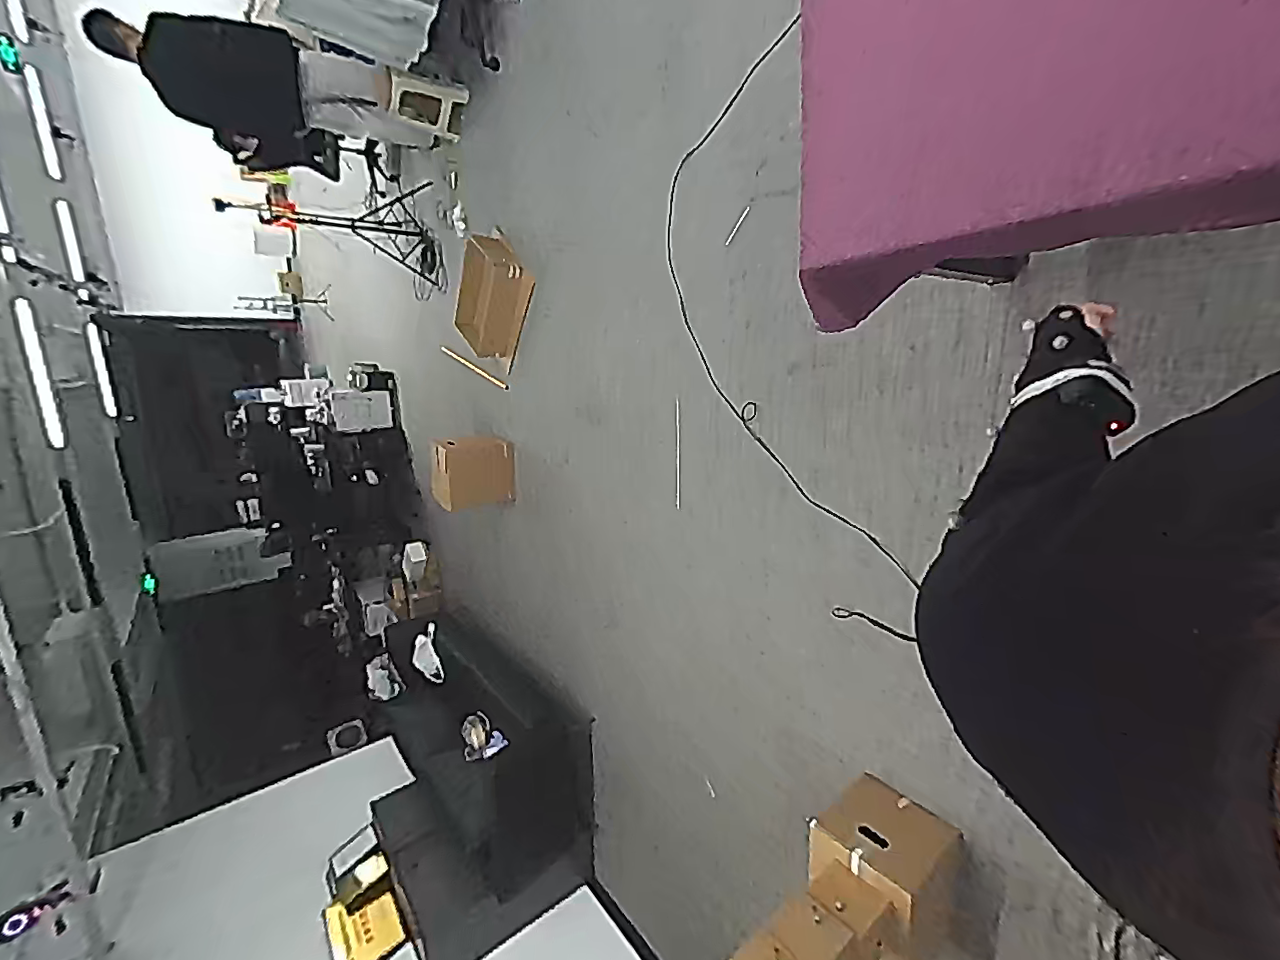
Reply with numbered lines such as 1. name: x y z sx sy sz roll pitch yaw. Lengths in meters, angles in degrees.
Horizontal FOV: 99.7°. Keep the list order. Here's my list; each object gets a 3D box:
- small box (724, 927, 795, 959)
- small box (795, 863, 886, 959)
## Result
1. small box: 0.296 1.253 1.301 0.168 0.176 0.179 15 109 48
2. small box: 0.555 1.215 1.501 0.179 0.176 0.168 10 107 49
